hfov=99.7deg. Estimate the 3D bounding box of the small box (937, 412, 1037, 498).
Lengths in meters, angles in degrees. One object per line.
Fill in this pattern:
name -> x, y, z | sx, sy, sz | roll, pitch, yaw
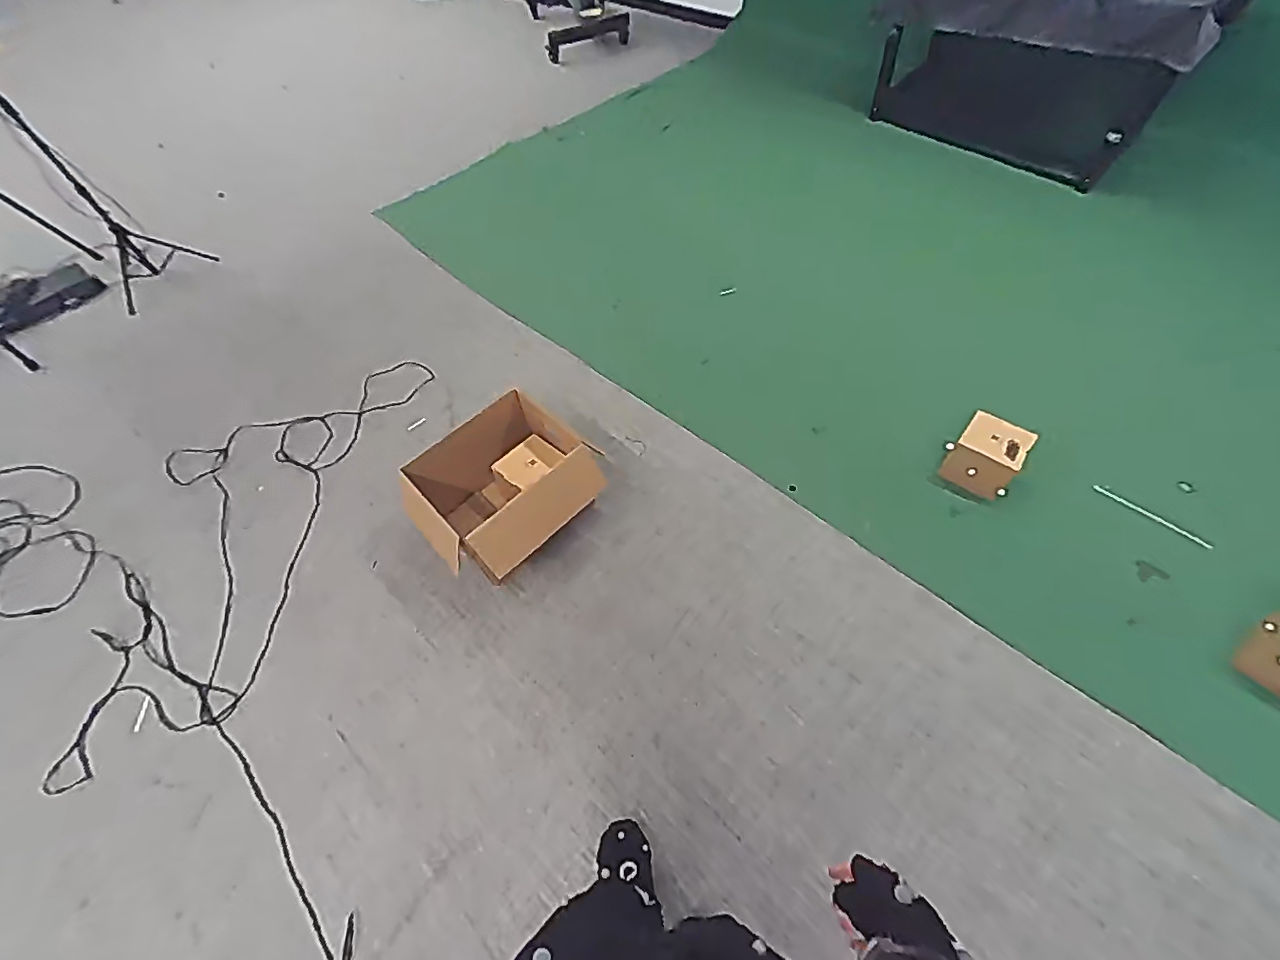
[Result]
small box -> 1.056, -0.069, 1.655 | 0.179, 0.176, 0.168 | 34, 64, 24
